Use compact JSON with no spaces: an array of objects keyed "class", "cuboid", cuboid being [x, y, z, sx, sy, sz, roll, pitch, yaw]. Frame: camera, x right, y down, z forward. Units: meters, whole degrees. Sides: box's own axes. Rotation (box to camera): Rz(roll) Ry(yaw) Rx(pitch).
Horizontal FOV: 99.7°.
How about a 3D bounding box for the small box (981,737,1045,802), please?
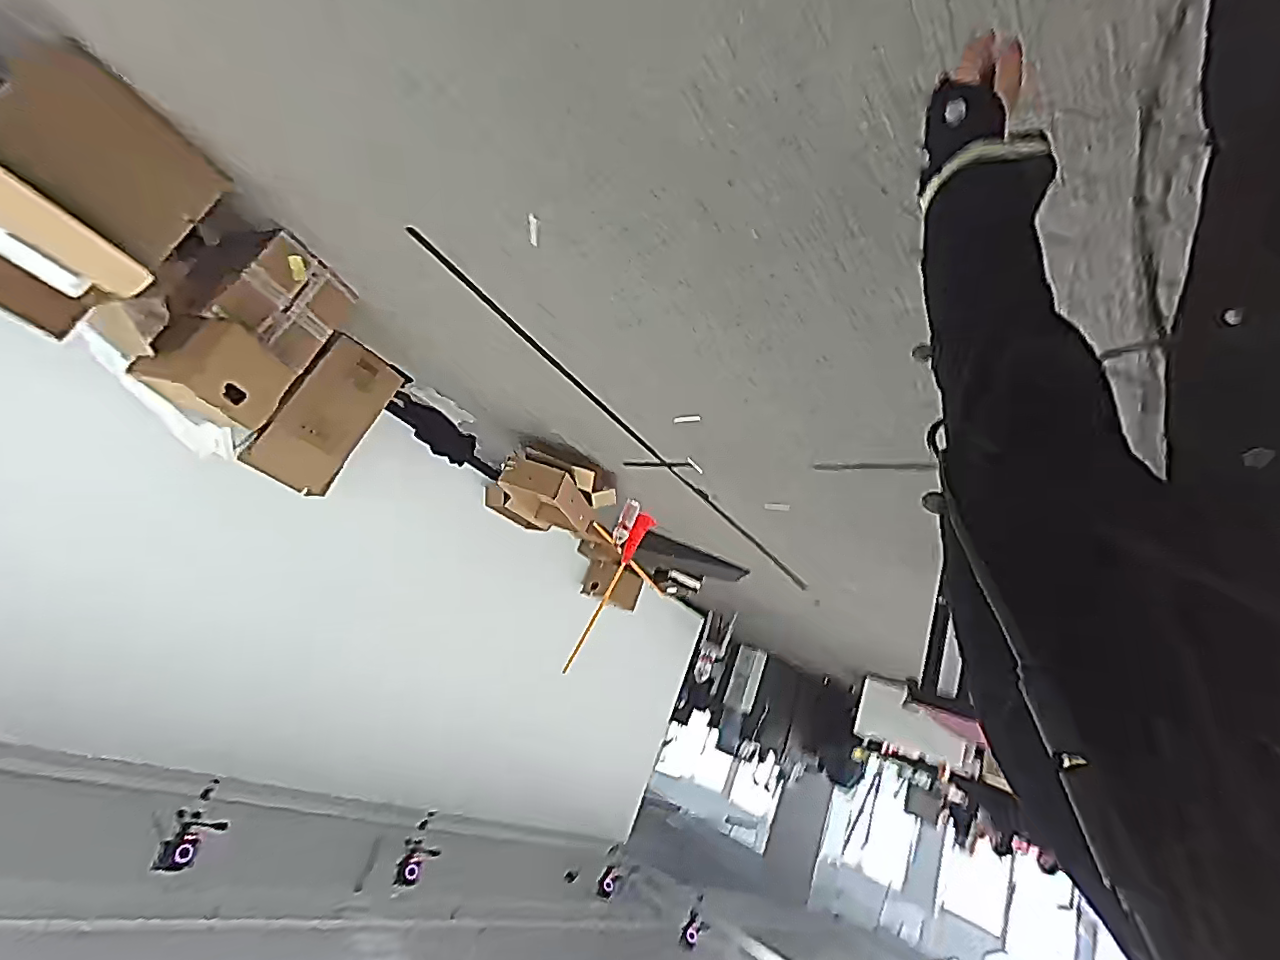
[{"class":"small box","cuboid":[1.450,1.117,2.100,0.179,0.176,0.168,2,152,43]}]
